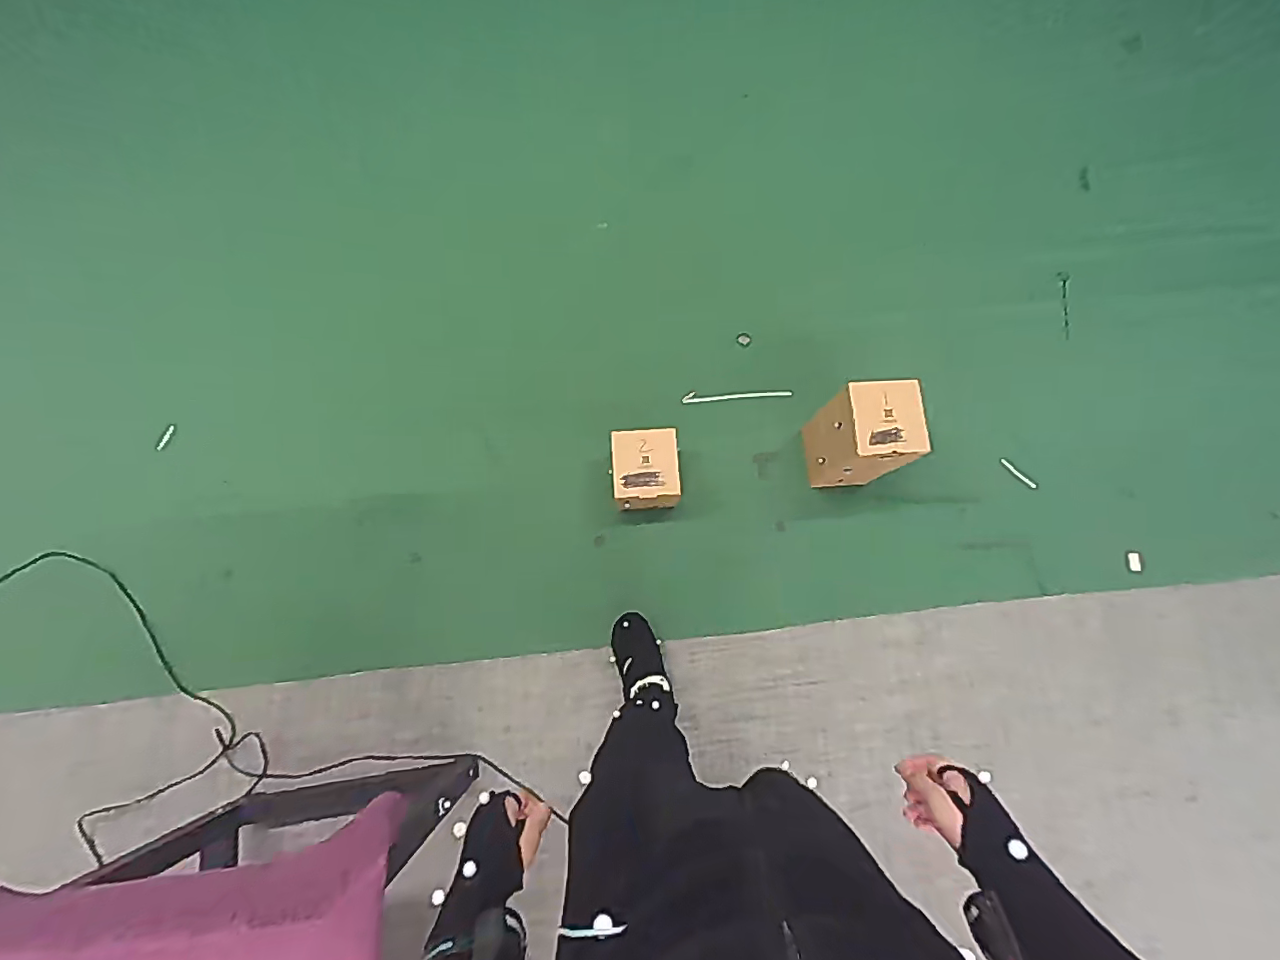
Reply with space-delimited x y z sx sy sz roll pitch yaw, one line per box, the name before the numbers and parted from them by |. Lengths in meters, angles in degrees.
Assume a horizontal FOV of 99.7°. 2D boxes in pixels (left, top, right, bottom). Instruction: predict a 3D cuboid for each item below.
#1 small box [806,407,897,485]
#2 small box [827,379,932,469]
small box | 0.556 -0.091 1.446 0.168 0.176 0.179 -4 79 -2
small box | 0.560 -0.125 1.286 0.168 0.176 0.179 -2 78 -2
